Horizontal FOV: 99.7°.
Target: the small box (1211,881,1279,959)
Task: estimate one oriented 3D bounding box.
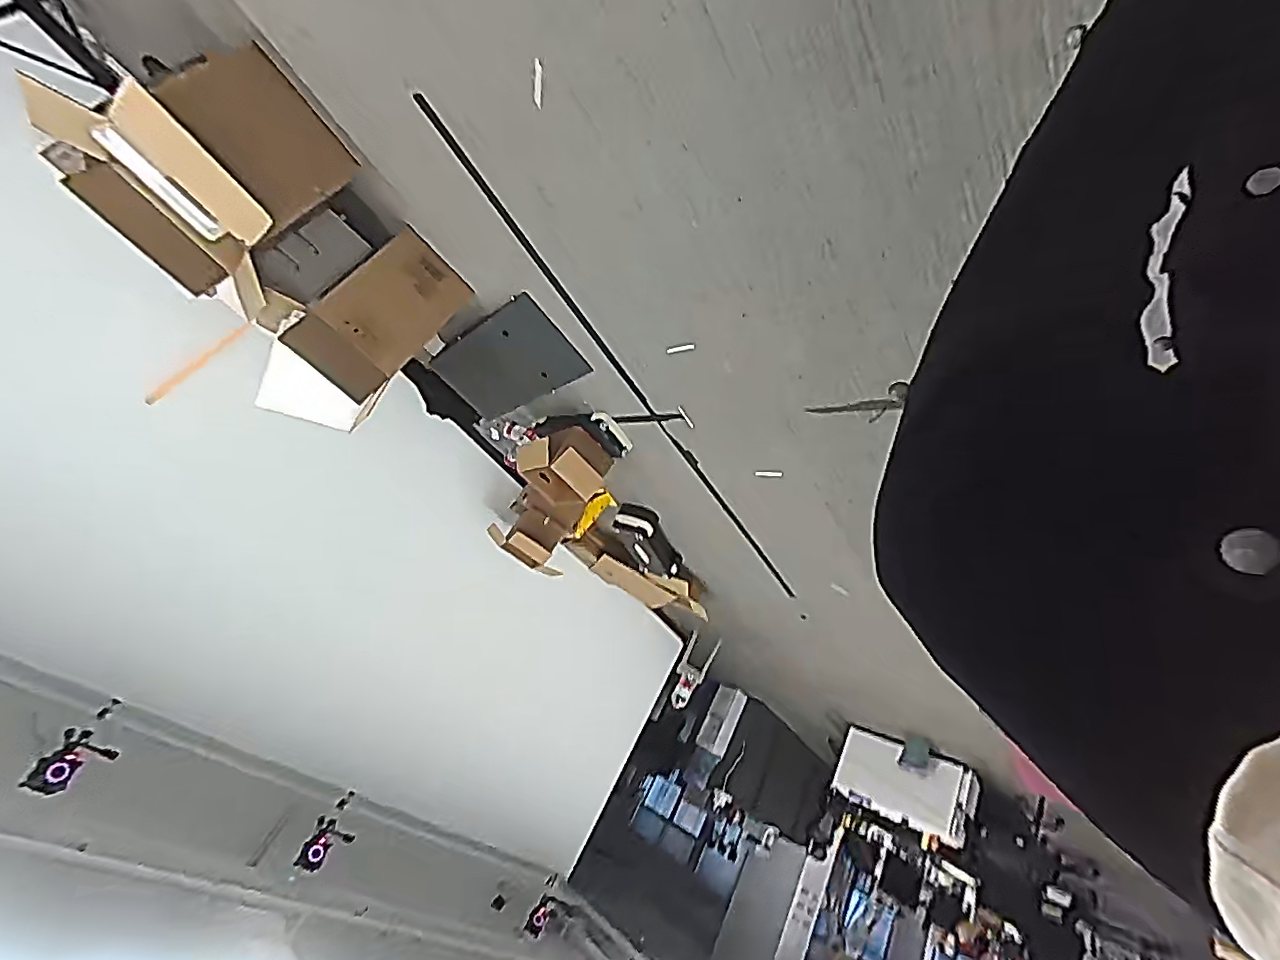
[{"bbox_3d":[1.665,1.226,1.451,0.179,0.176,0.168,1,142,48],"label":"small box"}]

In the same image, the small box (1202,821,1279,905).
[{"bbox_3d":[1.735,1.105,1.537,0.179,0.176,0.168,2,143,49],"label":"small box"}]
